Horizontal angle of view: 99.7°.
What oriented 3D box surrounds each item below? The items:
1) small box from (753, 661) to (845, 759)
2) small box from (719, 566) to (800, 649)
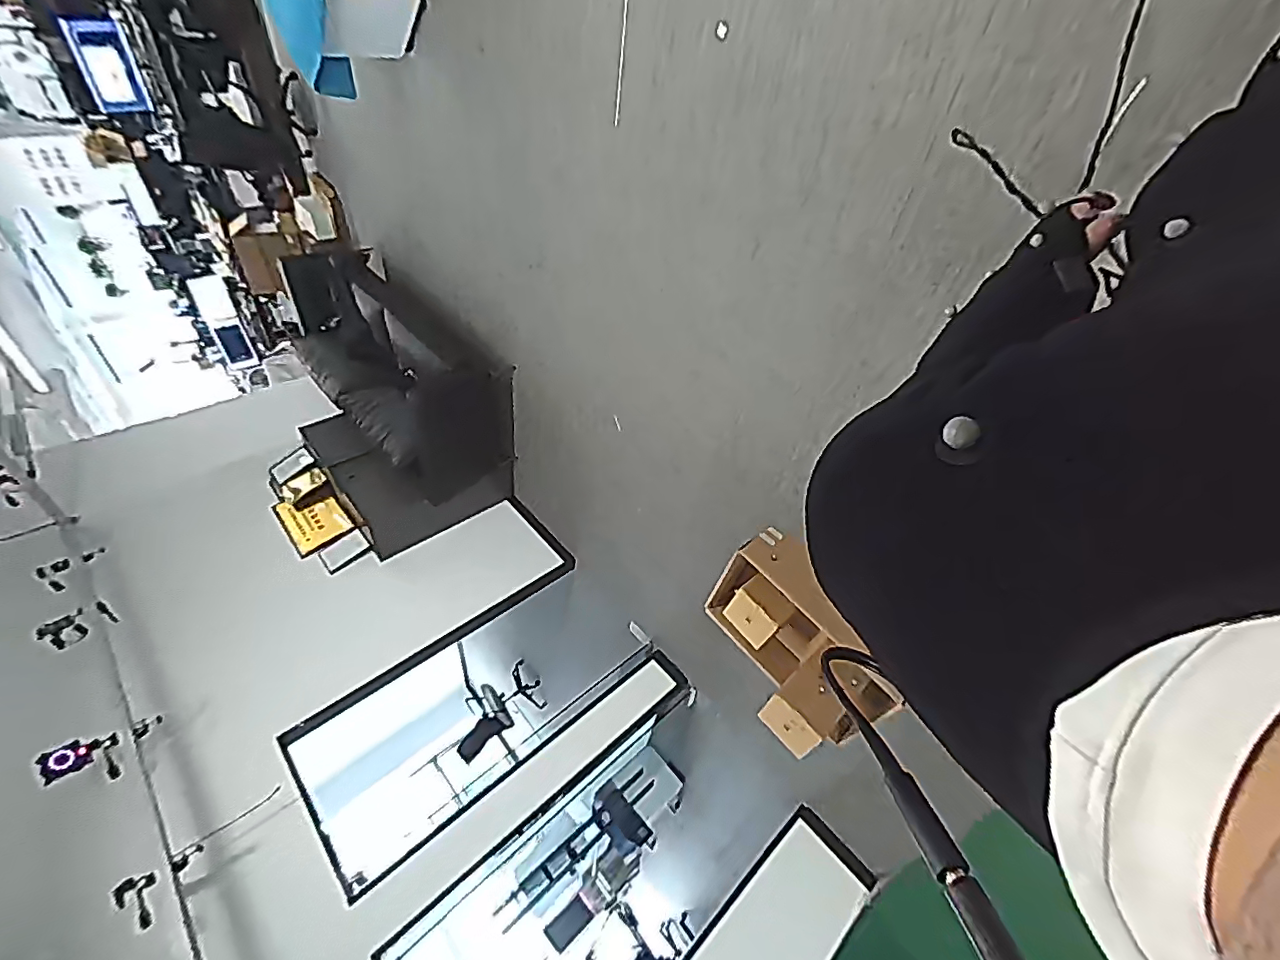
[{"bbox_3d":[0.464,0.667,1.573,0.168,0.176,0.179,42,142,25],"label":"small box"},{"bbox_3d":[0.396,0.418,1.784,0.168,0.176,0.179,46,142,22],"label":"small box"}]
